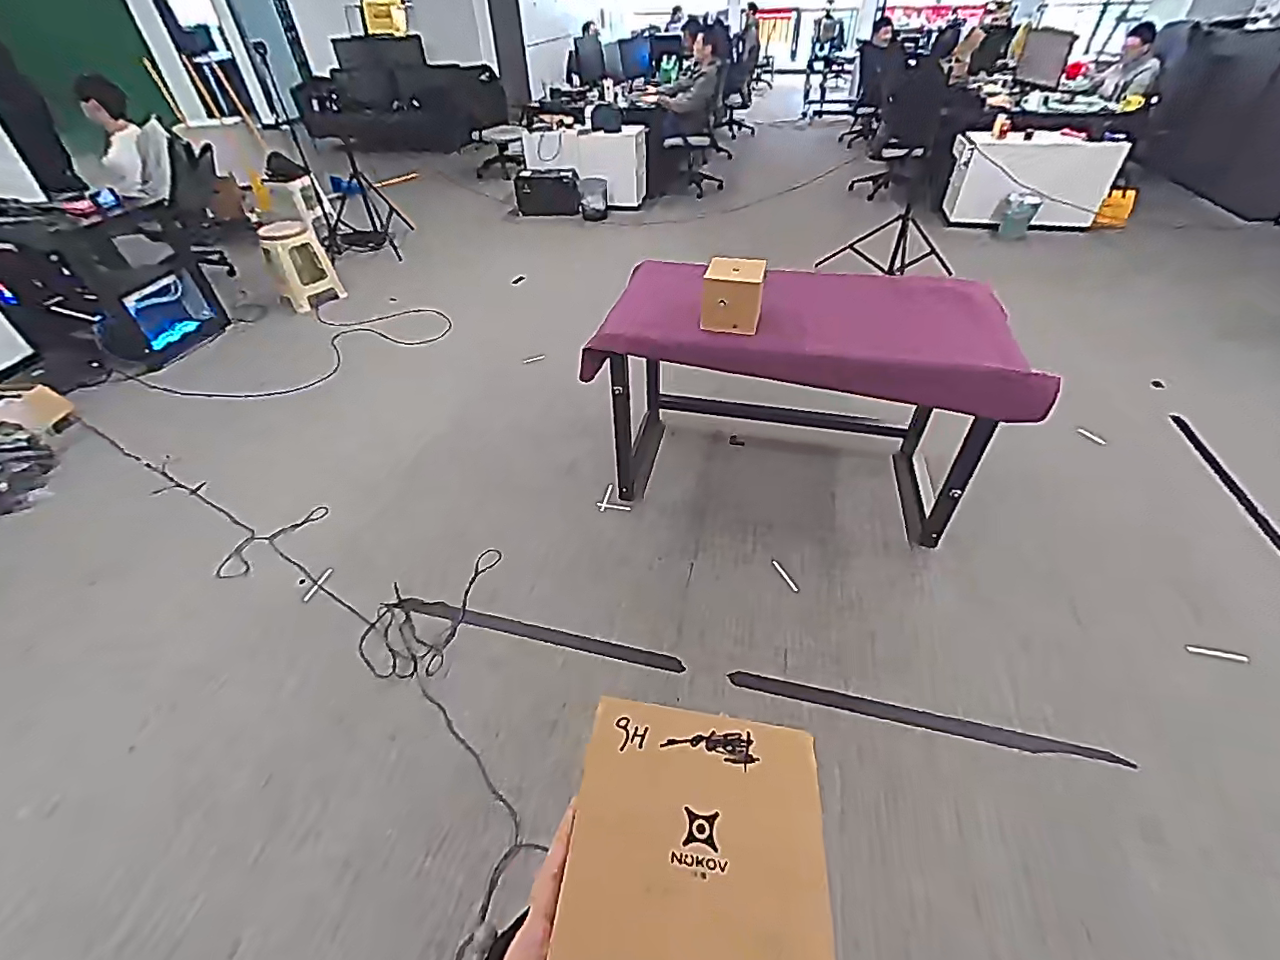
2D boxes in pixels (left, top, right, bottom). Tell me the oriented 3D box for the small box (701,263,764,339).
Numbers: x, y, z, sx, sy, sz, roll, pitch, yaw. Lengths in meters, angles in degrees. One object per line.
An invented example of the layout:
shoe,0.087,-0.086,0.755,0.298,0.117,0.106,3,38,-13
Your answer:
small box,0.283,-0.552,1.667,0.168,0.176,0.179,9,42,12

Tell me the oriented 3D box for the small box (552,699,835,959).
small box,0.035,0.298,0.408,0.168,0.176,0.179,9,42,3
